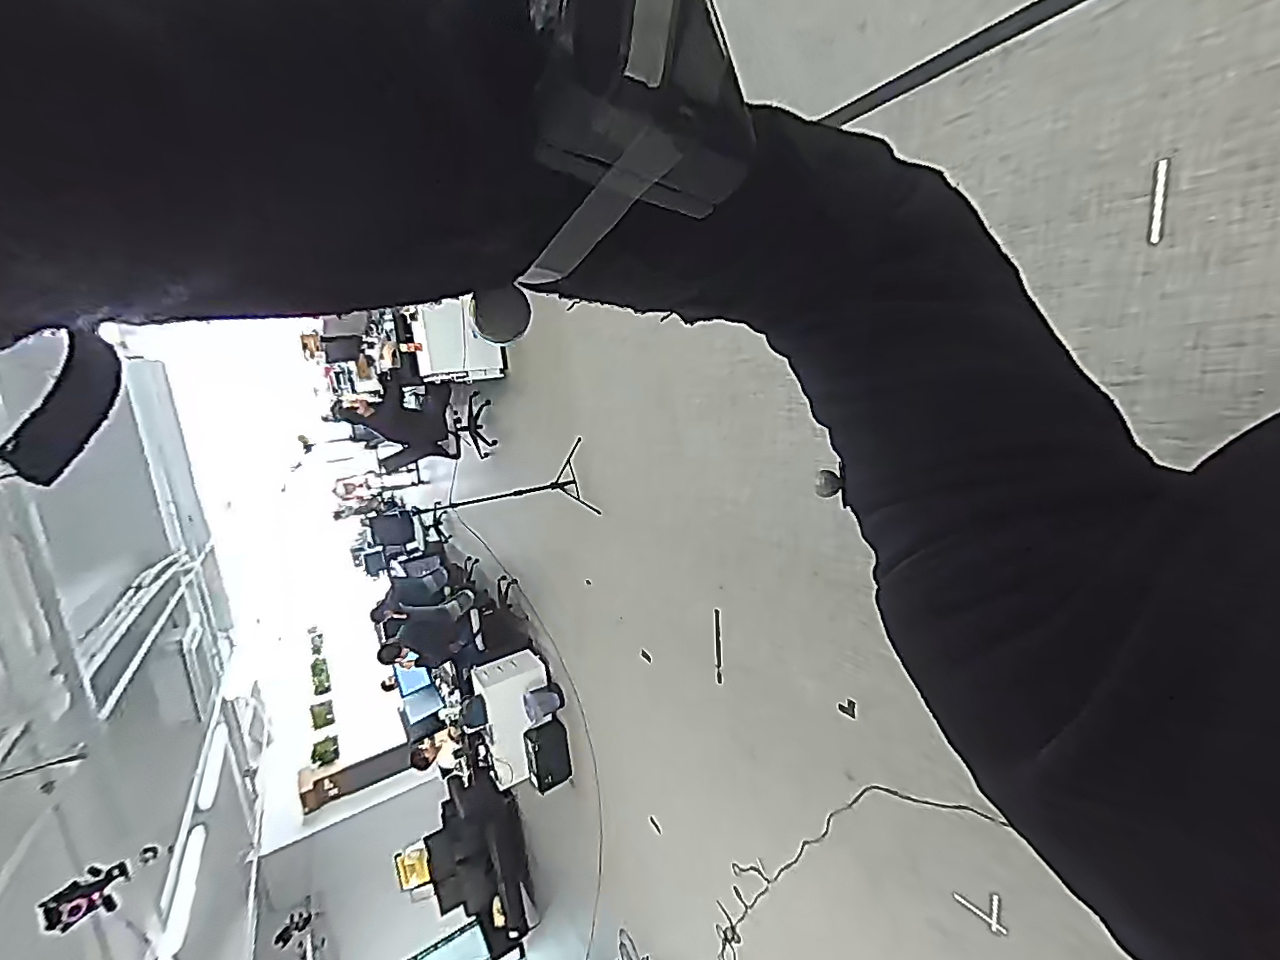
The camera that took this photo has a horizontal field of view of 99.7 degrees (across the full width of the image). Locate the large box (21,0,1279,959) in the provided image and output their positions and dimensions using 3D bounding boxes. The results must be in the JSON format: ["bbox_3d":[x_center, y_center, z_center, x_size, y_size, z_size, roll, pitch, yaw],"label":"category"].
[{"bbox_3d":[0.109,0.064,0.154,0.408,0.320,0.320,13,-118,52],"label":"large box"}]
